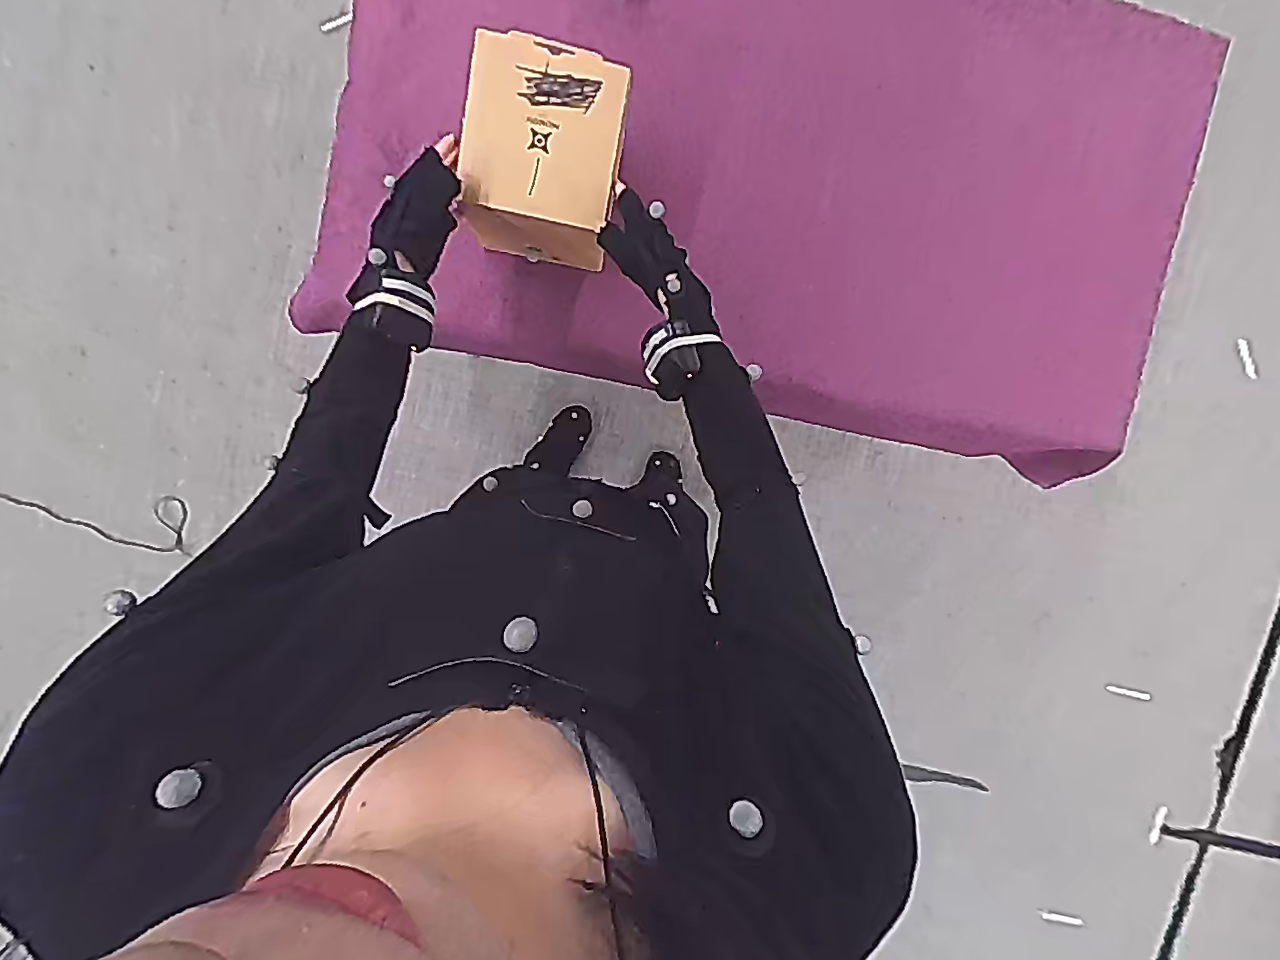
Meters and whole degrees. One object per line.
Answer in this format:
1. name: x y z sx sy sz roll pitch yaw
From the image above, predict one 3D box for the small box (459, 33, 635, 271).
1. small box: -0.108 -0.379 0.661 0.168 0.176 0.179 10 95 -6
